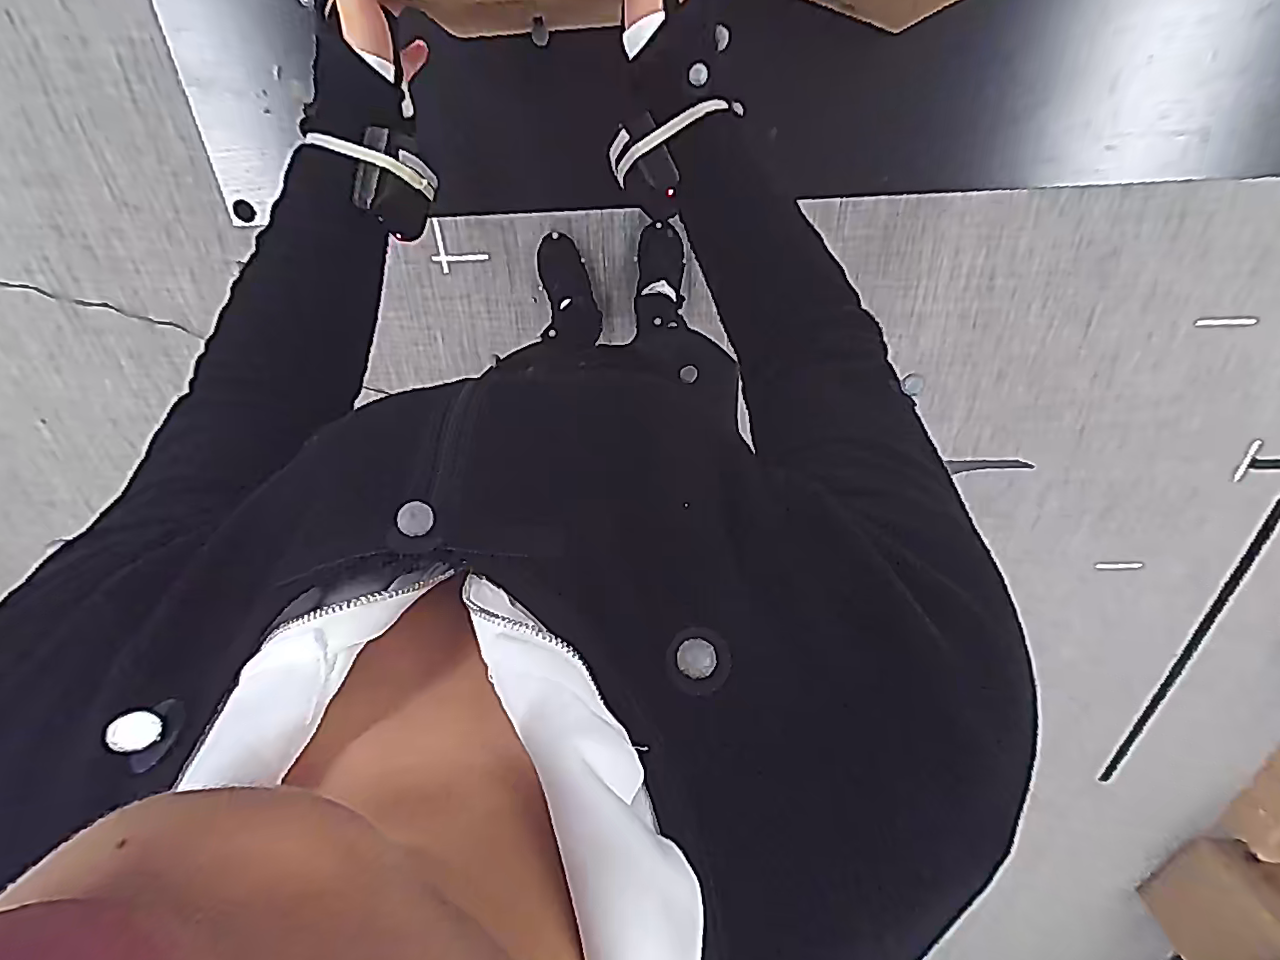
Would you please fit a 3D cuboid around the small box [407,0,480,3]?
[{"bbox_3d":[-0.095,-0.383,0.287,0.179,0.176,0.168,-3,119,0],"label":"small box"}]

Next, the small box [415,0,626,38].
[{"bbox_3d":[-0.098,-0.473,0.426,0.179,0.176,0.168,-4,119,0],"label":"small box"}]

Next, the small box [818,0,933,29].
[{"bbox_3d":[0.195,-0.494,0.418,0.168,0.176,0.179,13,117,-9],"label":"small box"}]
